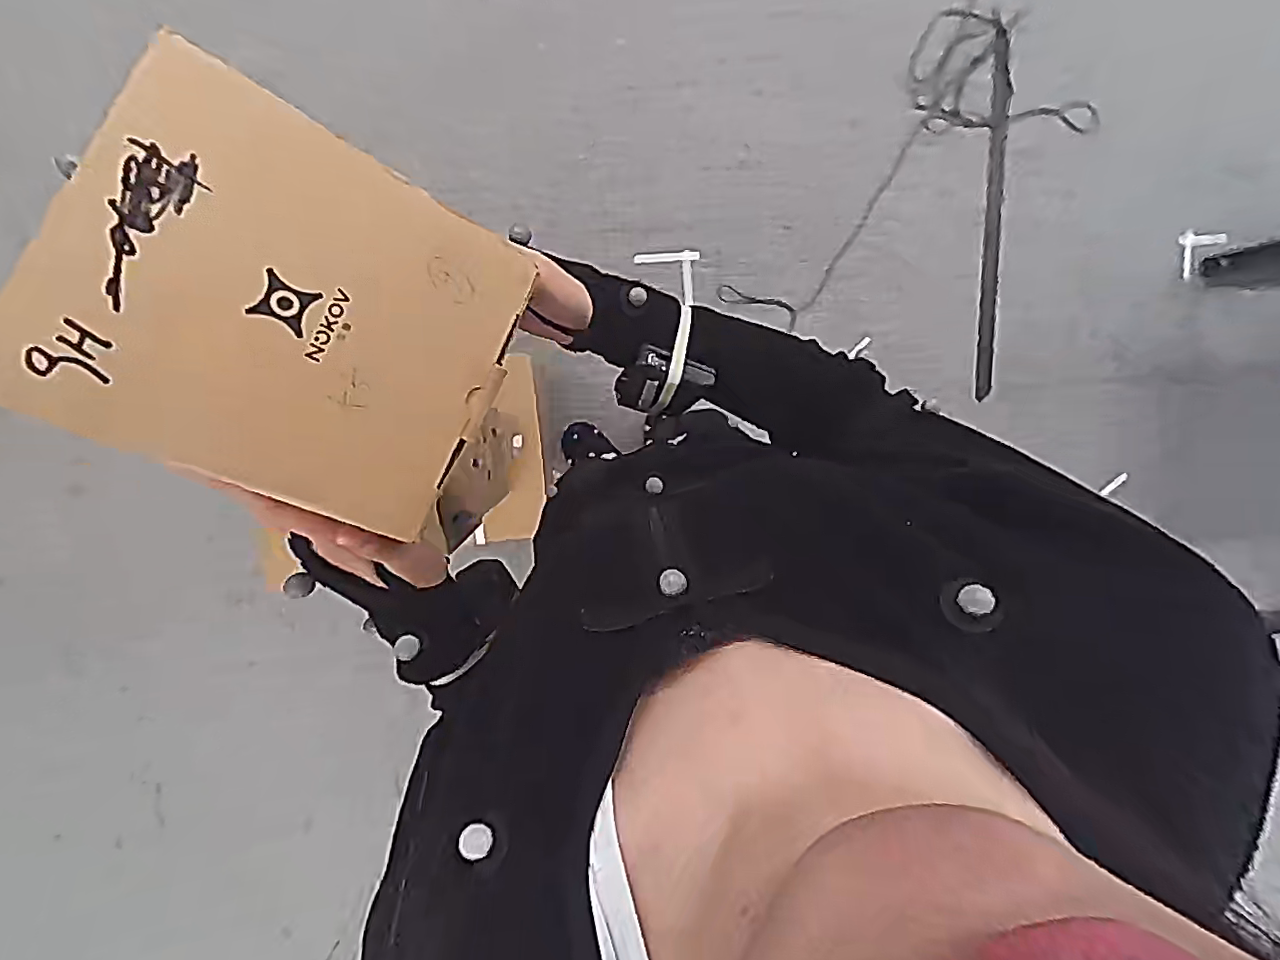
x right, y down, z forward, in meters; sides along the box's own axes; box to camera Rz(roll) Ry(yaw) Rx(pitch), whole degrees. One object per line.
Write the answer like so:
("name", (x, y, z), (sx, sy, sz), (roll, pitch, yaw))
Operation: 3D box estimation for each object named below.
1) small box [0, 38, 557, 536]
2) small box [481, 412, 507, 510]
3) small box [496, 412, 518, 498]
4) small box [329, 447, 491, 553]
("small box", (-0.182, -0.084, 0.323), (0.179, 0.176, 0.168), (27, 81, -28))
("small box", (-0.330, -0.033, 0.925), (0.179, 0.176, 0.168), (-7, 96, -4))
("small box", (-0.350, -0.046, 1.086), (0.179, 0.176, 0.168), (-6, 97, -5))
("small box", (-0.318, -0.010, 0.763), (0.179, 0.176, 0.168), (-12, 96, -4))
